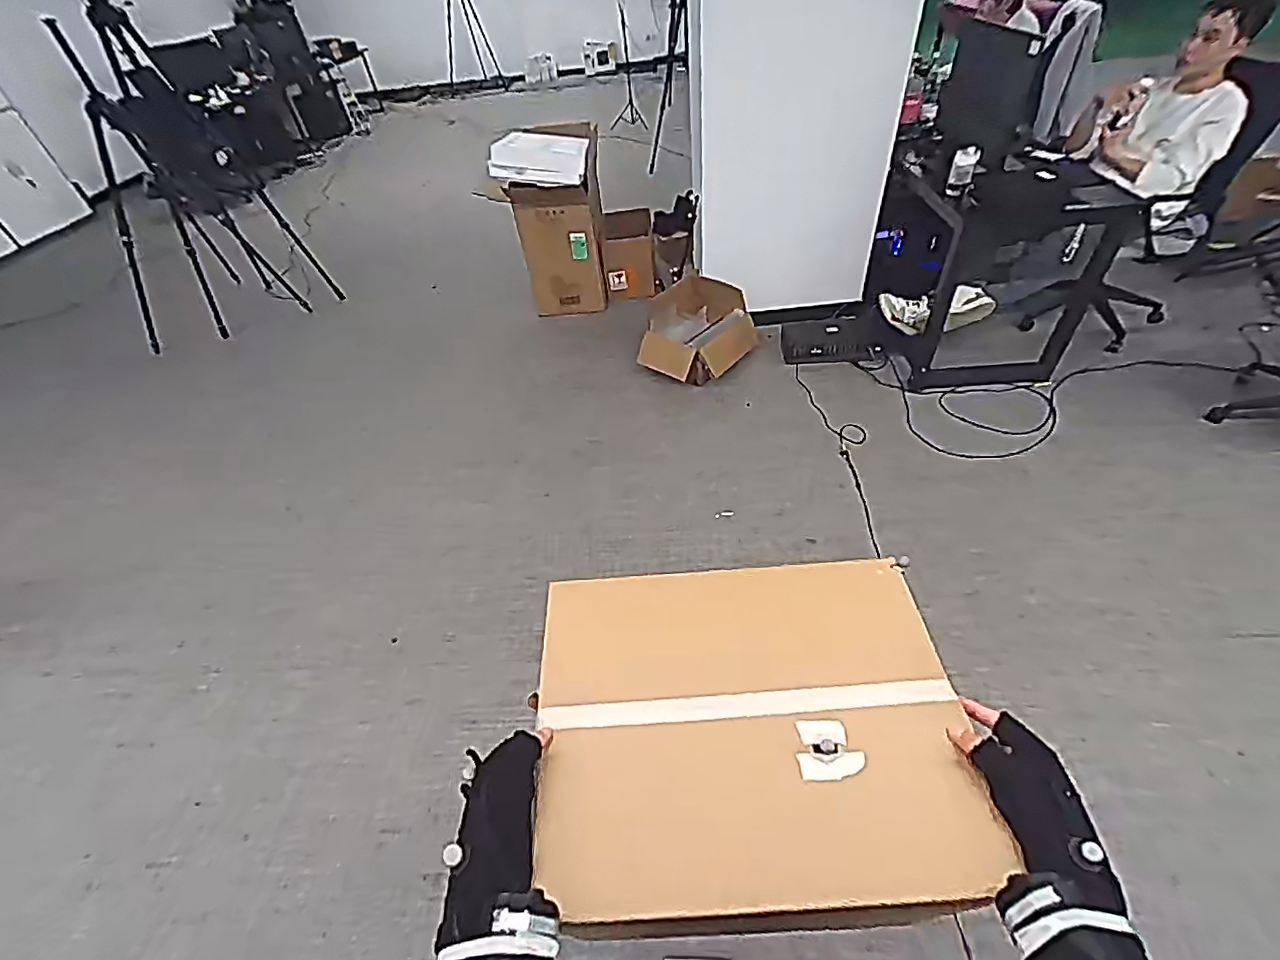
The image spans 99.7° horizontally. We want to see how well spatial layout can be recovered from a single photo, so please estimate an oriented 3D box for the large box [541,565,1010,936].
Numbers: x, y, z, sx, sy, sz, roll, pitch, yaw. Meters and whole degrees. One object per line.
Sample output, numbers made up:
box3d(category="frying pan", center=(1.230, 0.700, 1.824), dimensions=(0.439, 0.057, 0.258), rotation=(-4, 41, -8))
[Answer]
box3d(category="large box", center=(0.112, 0.331, 0.657), dimensions=(0.408, 0.320, 0.320), rotation=(-4, 48, 1))
